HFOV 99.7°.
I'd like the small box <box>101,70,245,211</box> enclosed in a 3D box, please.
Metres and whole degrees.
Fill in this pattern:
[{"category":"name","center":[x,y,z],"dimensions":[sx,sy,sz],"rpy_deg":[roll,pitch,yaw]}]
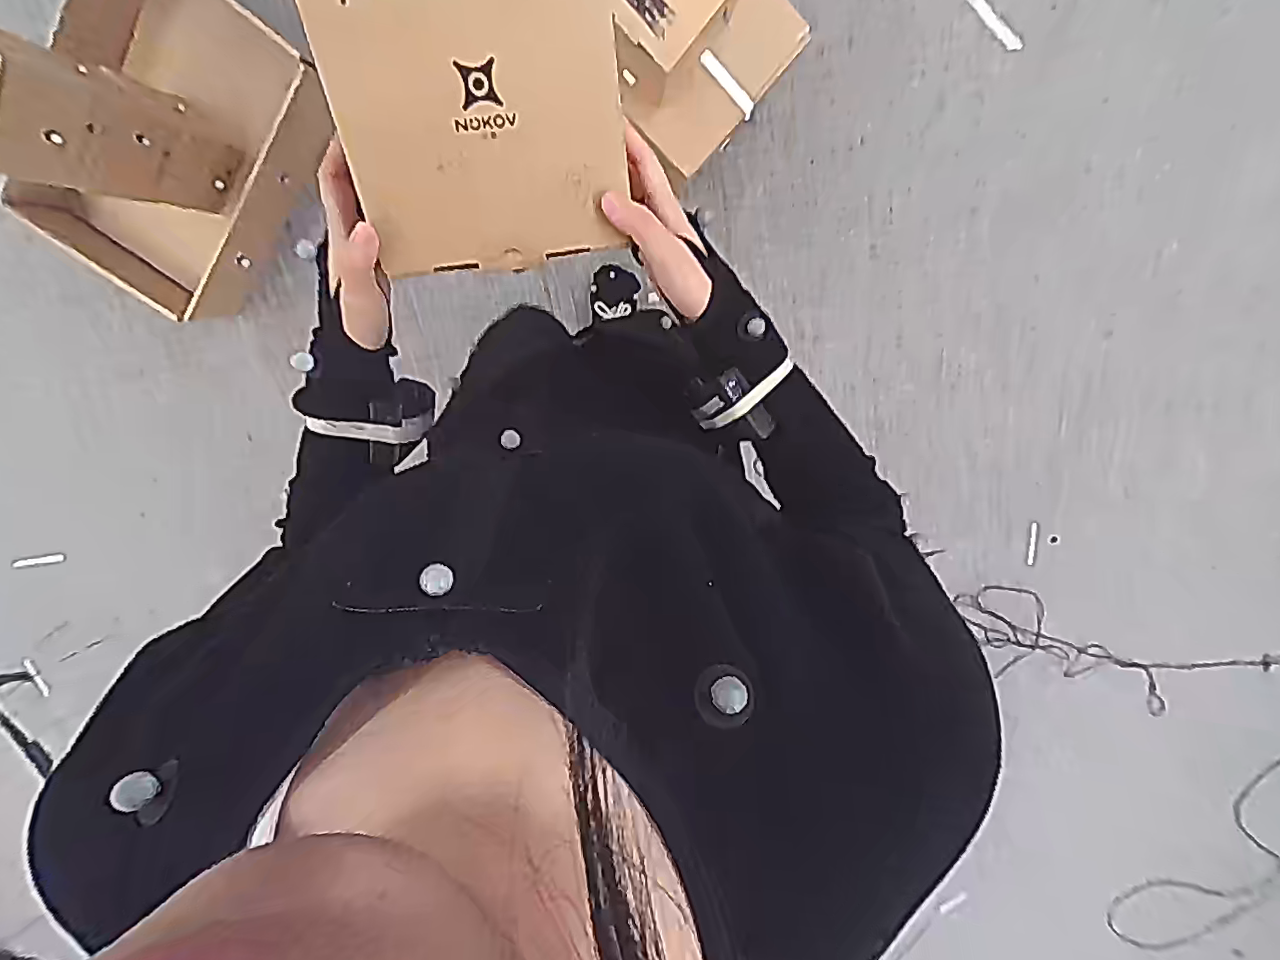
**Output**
[{"category":"small box","center":[-0.985,-0.687,1.124],"dimensions":[0.179,0.176,0.168],"rpy_deg":[35,106,-14]}]

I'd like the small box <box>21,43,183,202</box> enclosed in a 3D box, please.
[{"category":"small box","center":[-0.988,-0.629,0.973],"dimensions":[0.179,0.176,0.168],"rpy_deg":[31,105,-10]}]

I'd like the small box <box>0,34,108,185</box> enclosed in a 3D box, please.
[{"category":"small box","center":[-0.979,-0.576,0.816],"dimensions":[0.179,0.176,0.168],"rpy_deg":[31,105,-12]}]

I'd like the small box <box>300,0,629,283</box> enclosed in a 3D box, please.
[{"category":"small box","center":[-0.106,-0.257,0.387],"dimensions":[0.168,0.176,0.179],"rpy_deg":[-10,121,-5]}]
